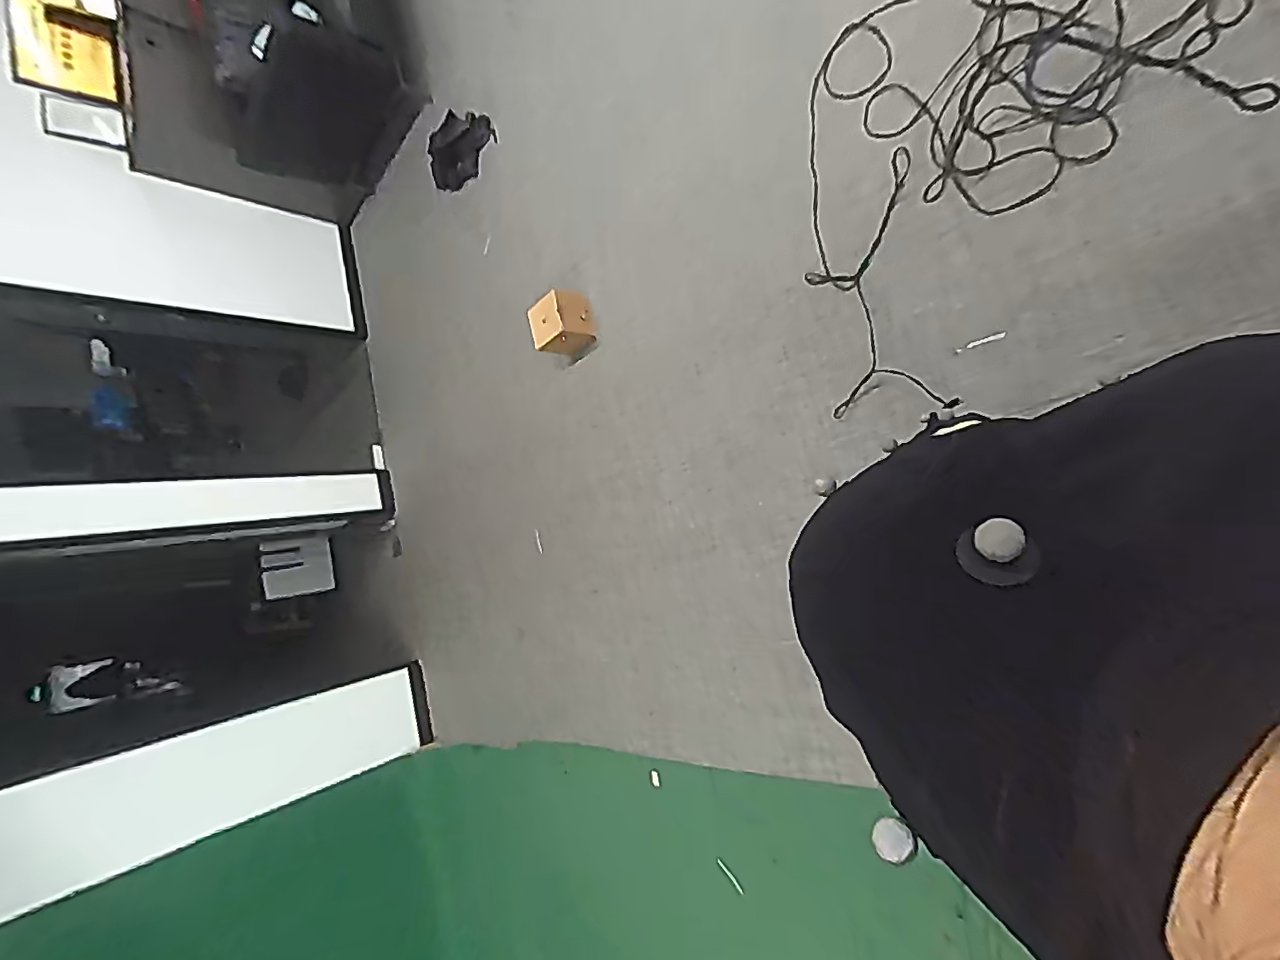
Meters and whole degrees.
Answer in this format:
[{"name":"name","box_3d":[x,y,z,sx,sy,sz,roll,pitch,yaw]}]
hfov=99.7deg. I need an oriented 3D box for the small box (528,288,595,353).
[{"name":"small box","box_3d":[-0.298,-0.597,2.052,0.179,0.176,0.168,-23,77,41]}]
